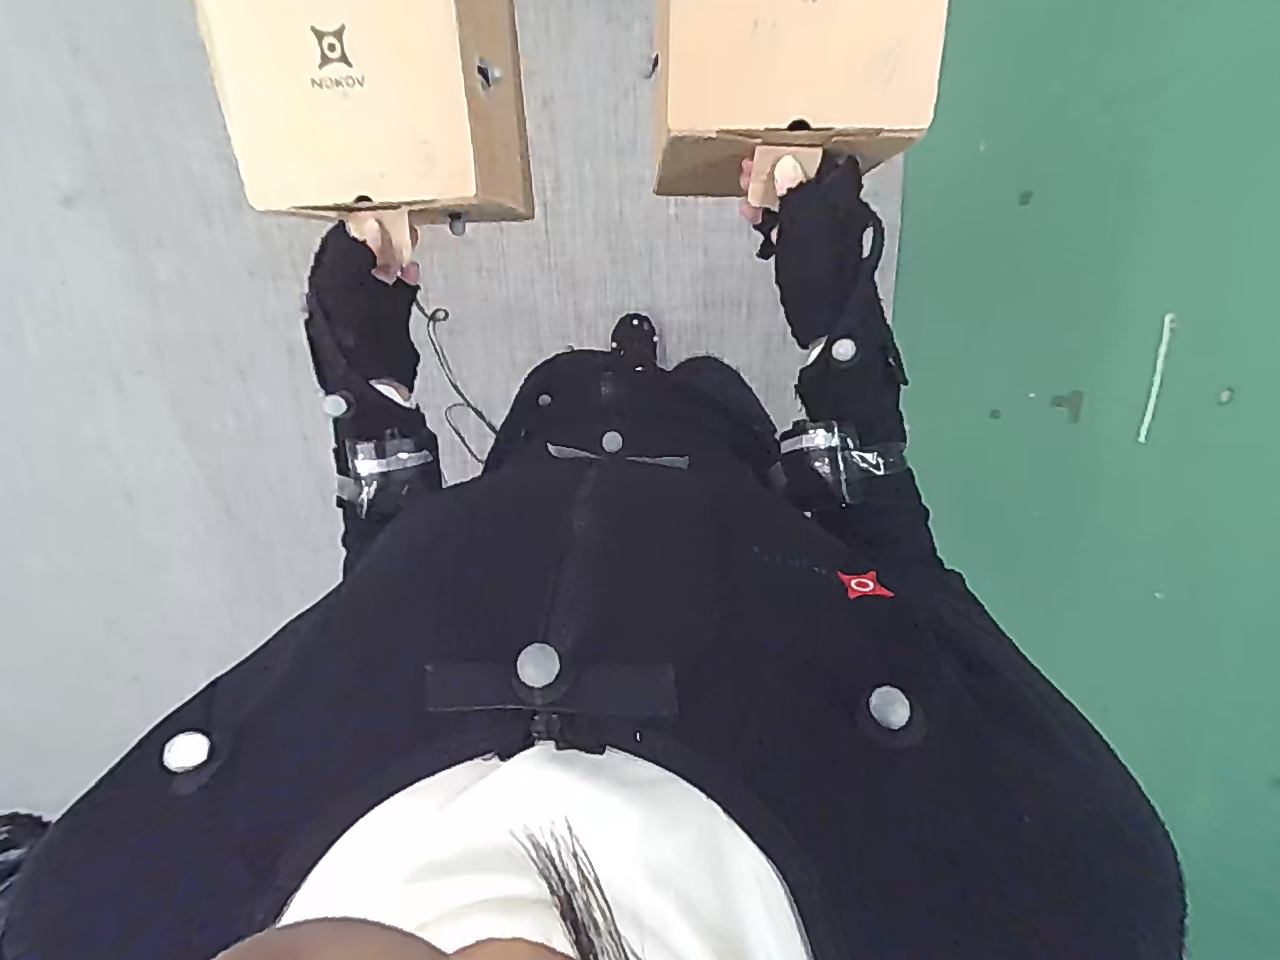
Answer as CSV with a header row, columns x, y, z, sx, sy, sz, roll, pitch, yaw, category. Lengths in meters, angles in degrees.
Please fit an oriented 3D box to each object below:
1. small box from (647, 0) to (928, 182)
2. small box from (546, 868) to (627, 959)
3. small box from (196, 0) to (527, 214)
x,y,z,sx,sy,sz,roll,pitch,yaw,category
0.091,-0.329,0.394,0.168,0.176,0.179,0,107,-1,small box
-0.130,1.125,1.373,0.179,0.176,0.168,-4,100,3,small box
-0.194,-0.310,0.422,0.168,0.176,0.179,-2,111,3,small box
